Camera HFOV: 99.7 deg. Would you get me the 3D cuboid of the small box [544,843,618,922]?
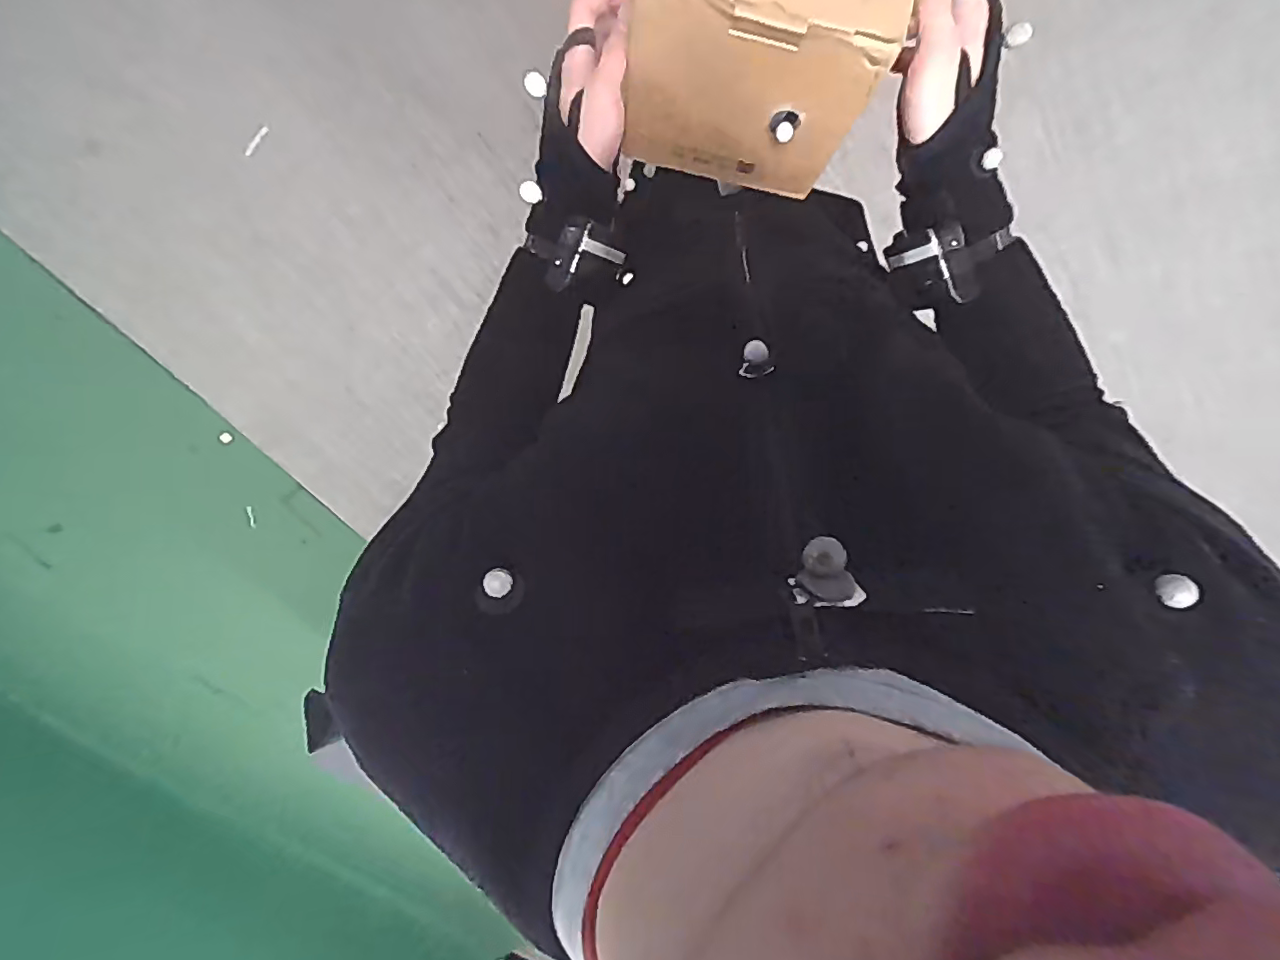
[{"bbox_3d":[-0.189,1.347,1.814,0.179,0.176,0.168,-31,115,26],"label":"small box"}]
